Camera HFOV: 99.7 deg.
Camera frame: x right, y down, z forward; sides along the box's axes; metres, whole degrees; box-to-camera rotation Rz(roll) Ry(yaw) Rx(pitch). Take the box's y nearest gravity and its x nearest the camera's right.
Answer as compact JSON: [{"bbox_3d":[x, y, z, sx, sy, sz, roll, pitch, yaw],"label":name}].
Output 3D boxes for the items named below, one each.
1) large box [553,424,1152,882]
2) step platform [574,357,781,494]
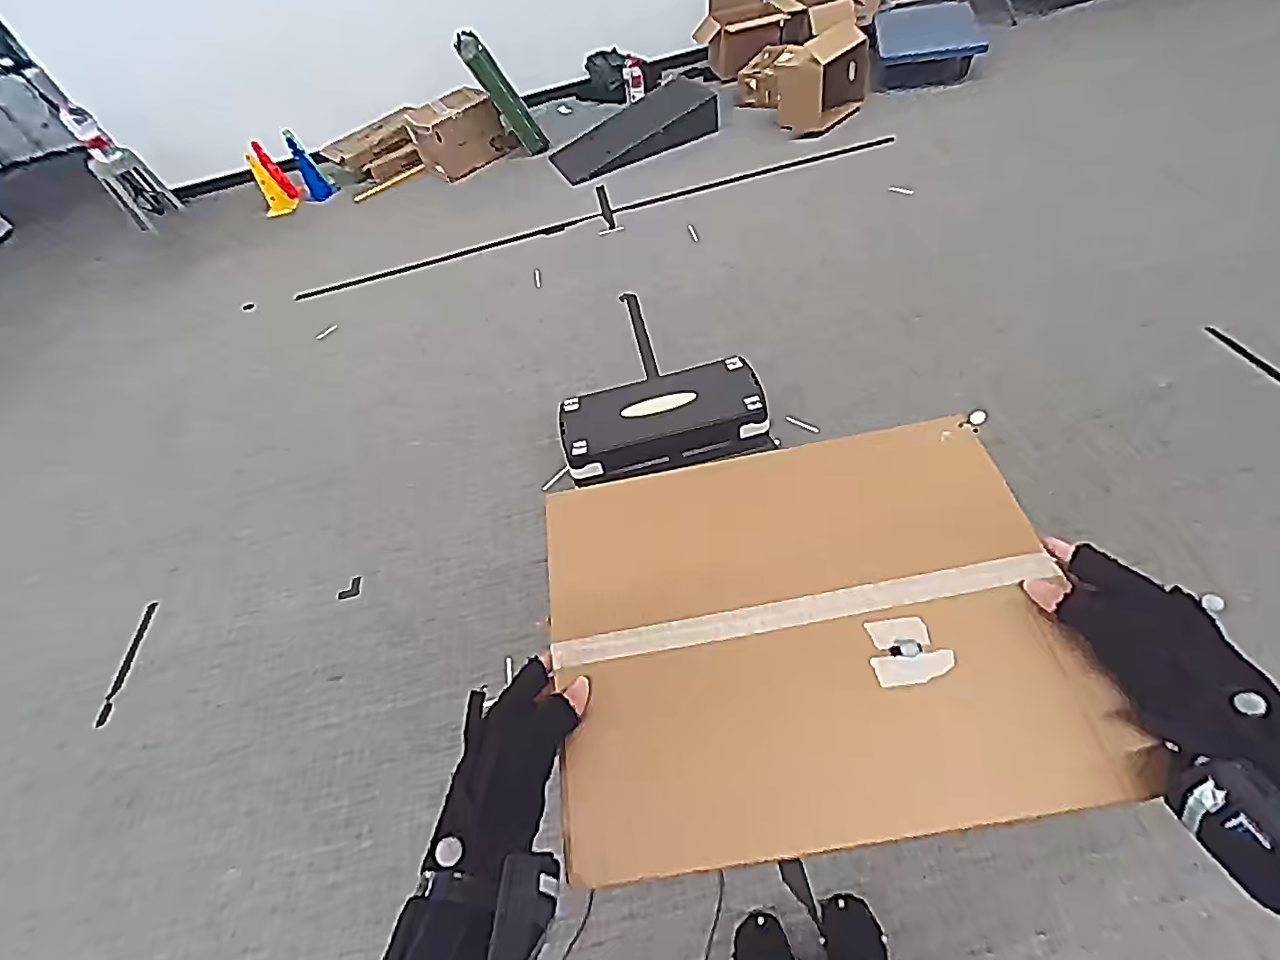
[{"bbox_3d":[0.149,0.190,0.573,0.408,0.320,0.320,-11,58,2],"label":"large box"},{"bbox_3d":[0.118,-0.191,1.832,0.684,0.204,0.286,-15,52,0],"label":"step platform"}]
